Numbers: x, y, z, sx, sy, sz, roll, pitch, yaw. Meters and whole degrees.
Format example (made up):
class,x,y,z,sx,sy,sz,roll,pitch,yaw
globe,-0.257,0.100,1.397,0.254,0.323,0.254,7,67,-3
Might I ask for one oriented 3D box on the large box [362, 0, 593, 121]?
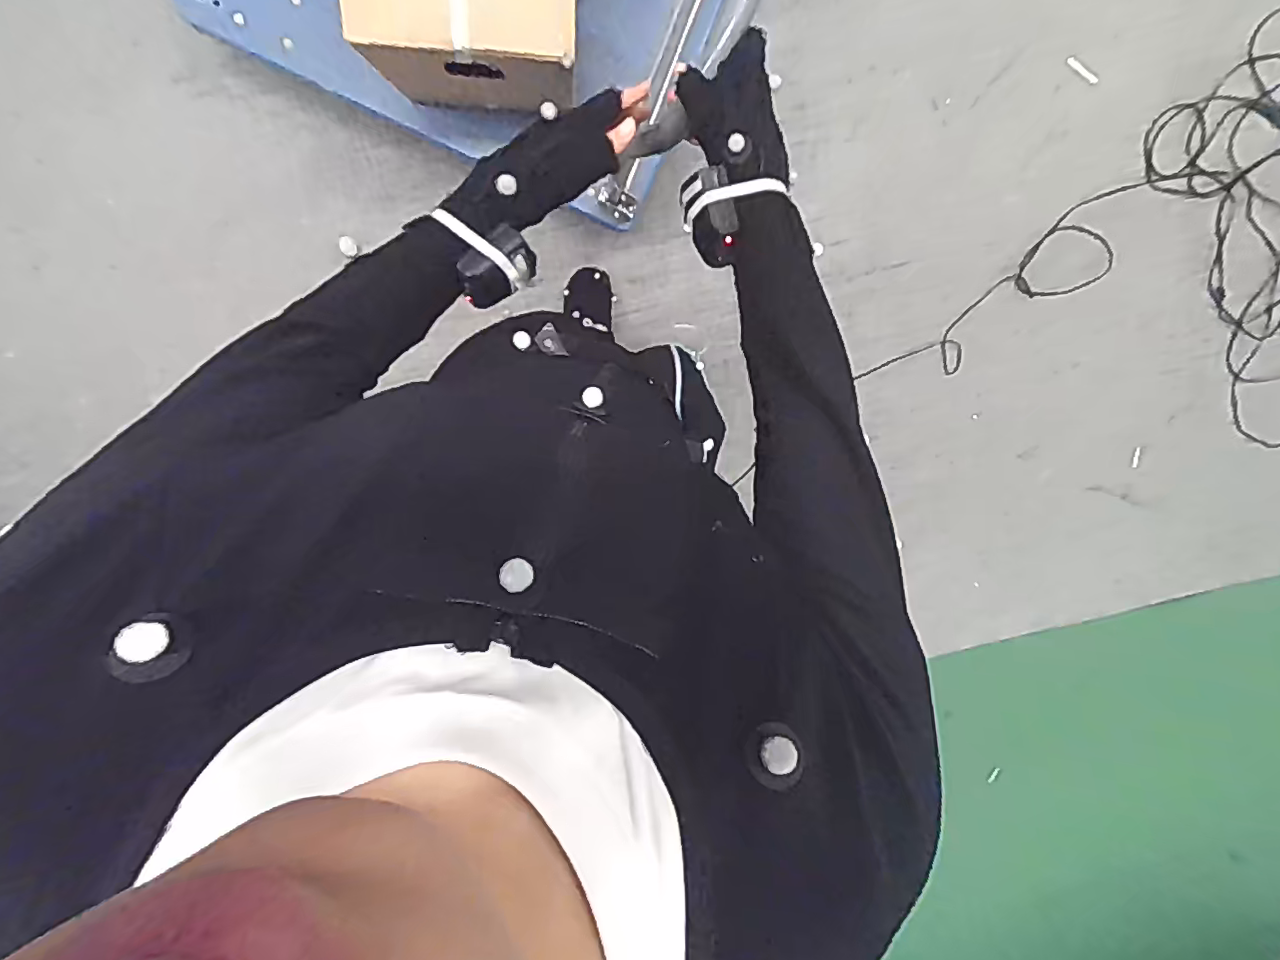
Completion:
class,x,y,z,sx,sy,sz,roll,pitch,yaw
large box,-0.235,-0.826,0.826,0.320,0.320,0.408,0,113,-6
